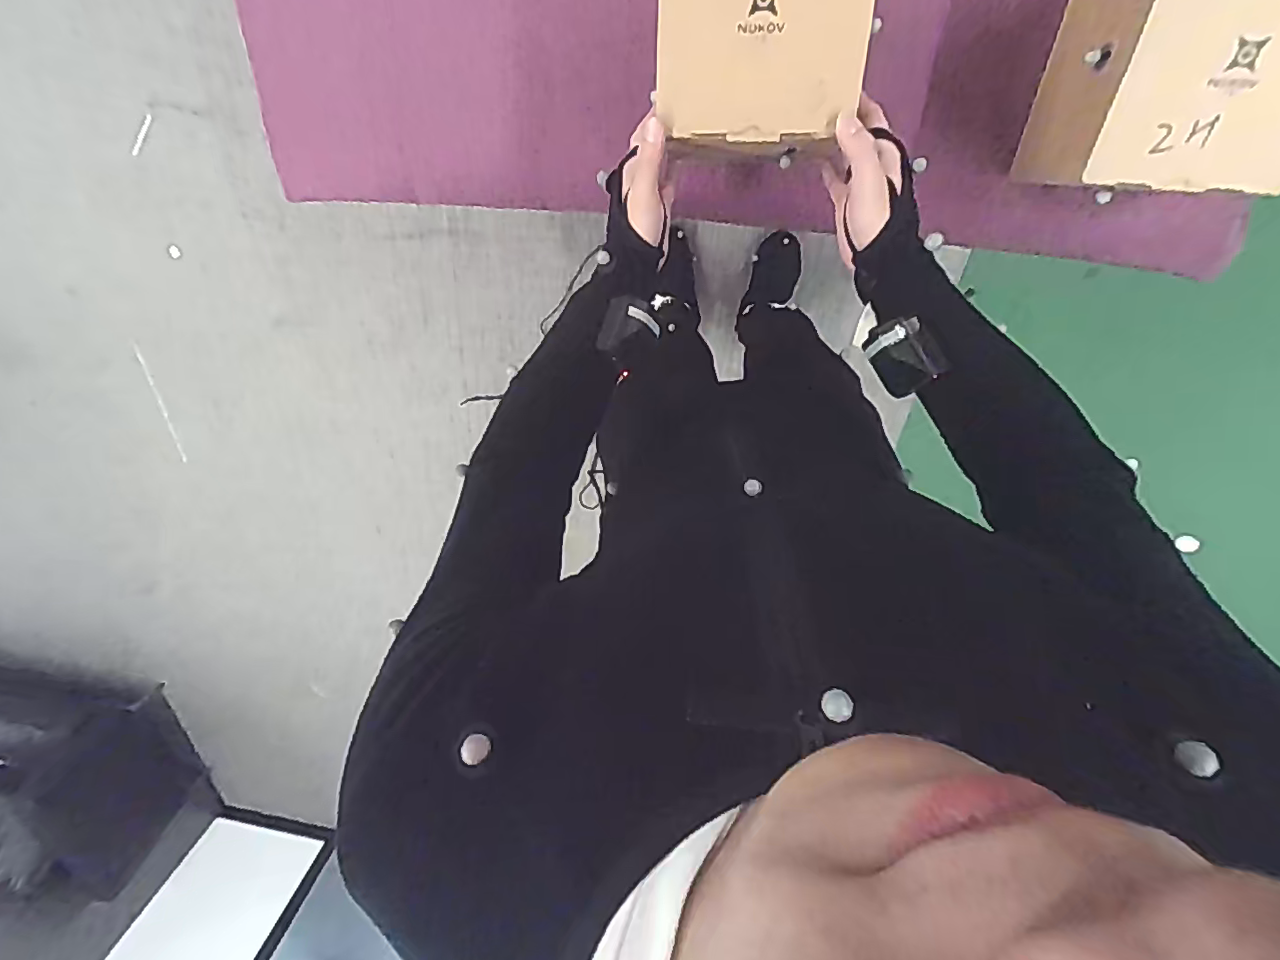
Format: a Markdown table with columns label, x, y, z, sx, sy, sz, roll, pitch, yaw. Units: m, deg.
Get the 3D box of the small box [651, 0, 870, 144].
| label | x | y | z | sx | sy | sz | roll | pitch | yaw |
| --- | --- | --- | --- | --- | --- | --- | --- | --- | --- |
| small box | 0.106 | -0.409 | 0.480 | 0.168 | 0.176 | 0.179 | 5 | 115 | 7 |
